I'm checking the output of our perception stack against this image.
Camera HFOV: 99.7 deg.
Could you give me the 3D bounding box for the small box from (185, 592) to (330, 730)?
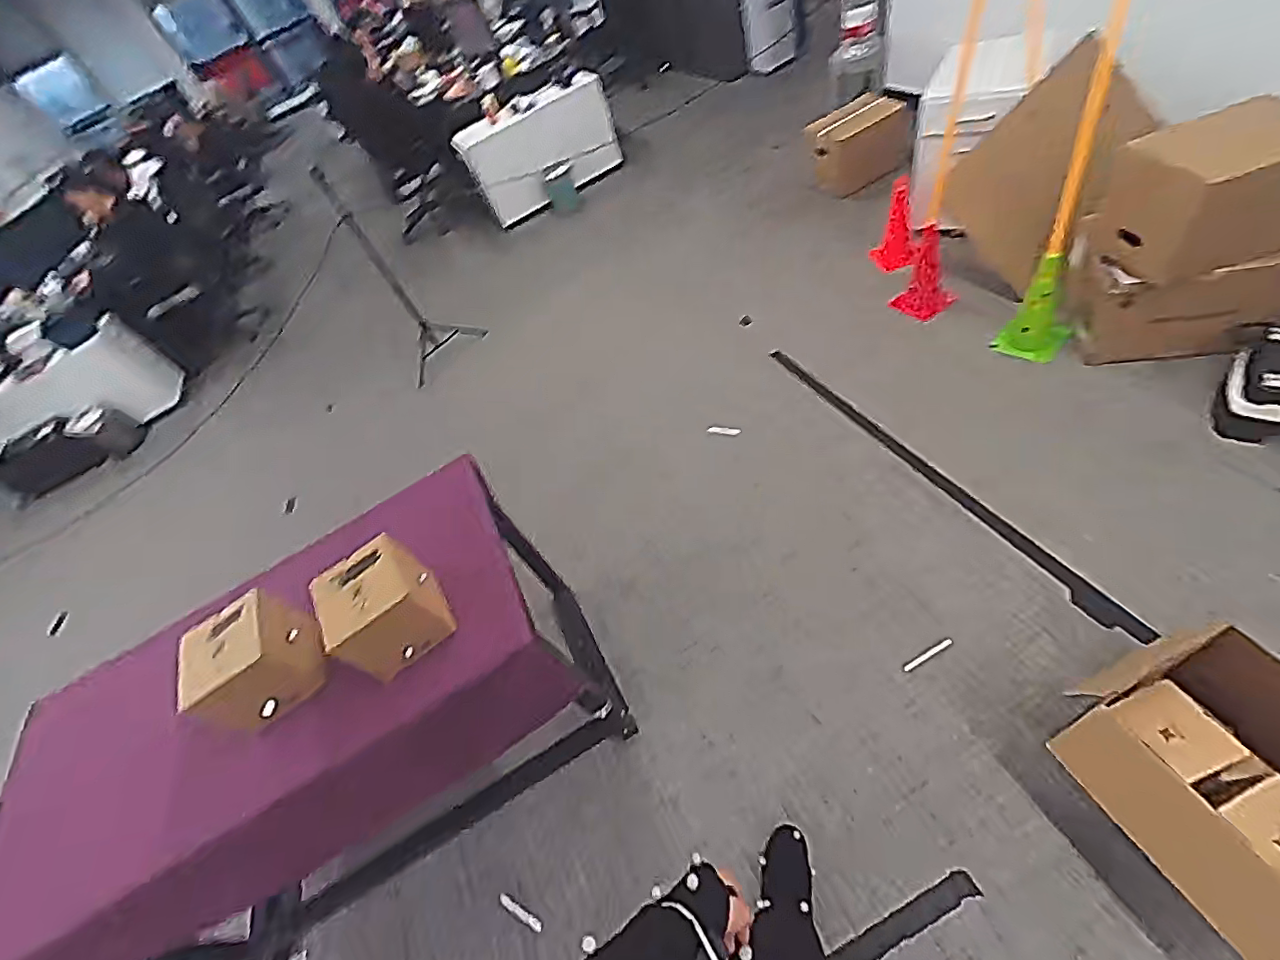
[{"bbox_3d":[-0.761,0.367,1.088,0.168,0.176,0.179,-35,50,-8],"label":"small box"}]
